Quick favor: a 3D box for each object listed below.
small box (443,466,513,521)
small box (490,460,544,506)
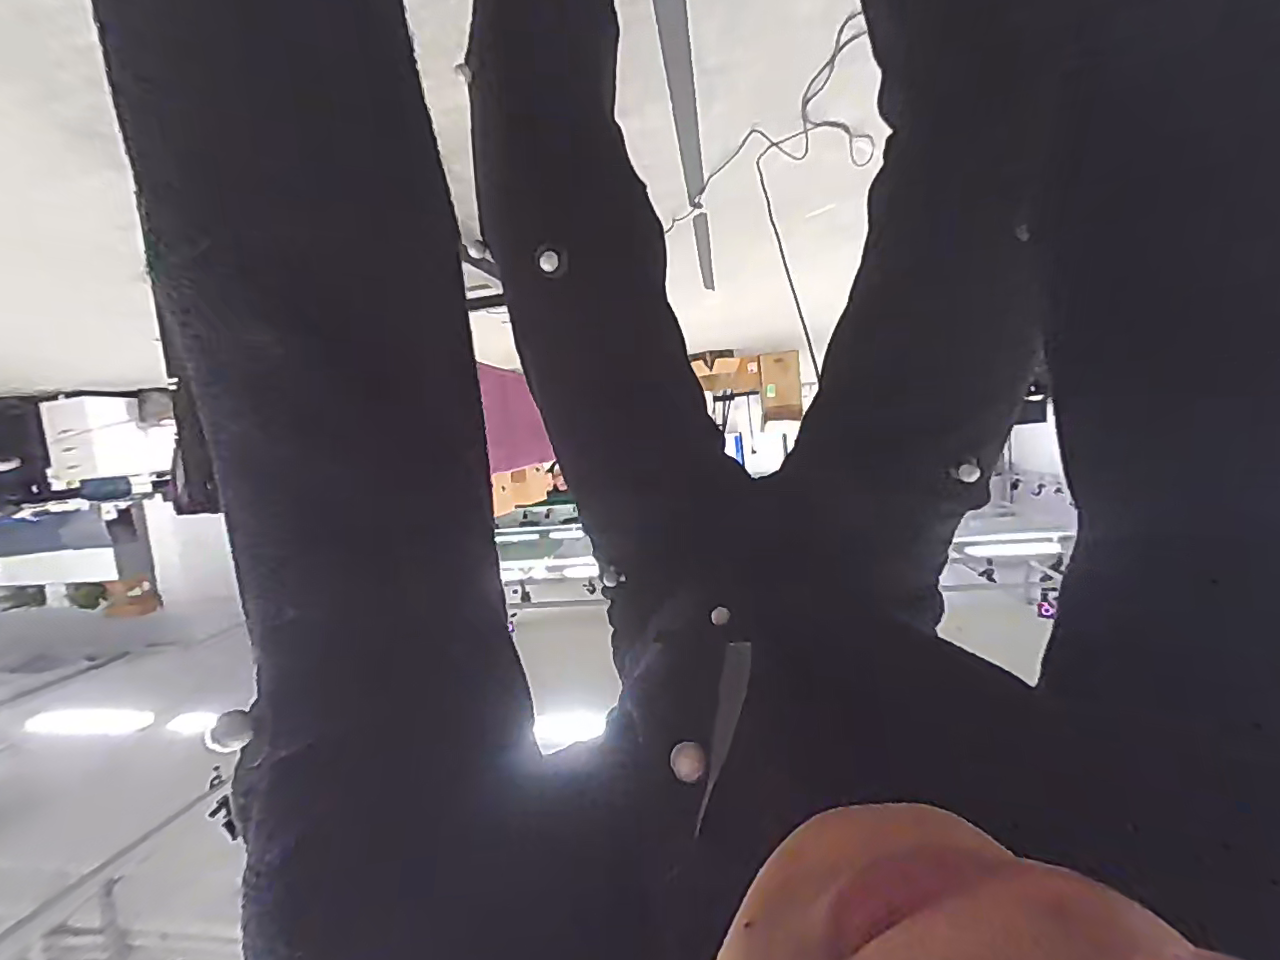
[{"bbox_3d":[-0.577,0.043,1.928,0.179,0.176,0.168,-5,-175,12],"label":"small box"},{"bbox_3d":[-0.508,0.010,2.192,0.179,0.176,0.168,-5,-174,14],"label":"small box"}]
